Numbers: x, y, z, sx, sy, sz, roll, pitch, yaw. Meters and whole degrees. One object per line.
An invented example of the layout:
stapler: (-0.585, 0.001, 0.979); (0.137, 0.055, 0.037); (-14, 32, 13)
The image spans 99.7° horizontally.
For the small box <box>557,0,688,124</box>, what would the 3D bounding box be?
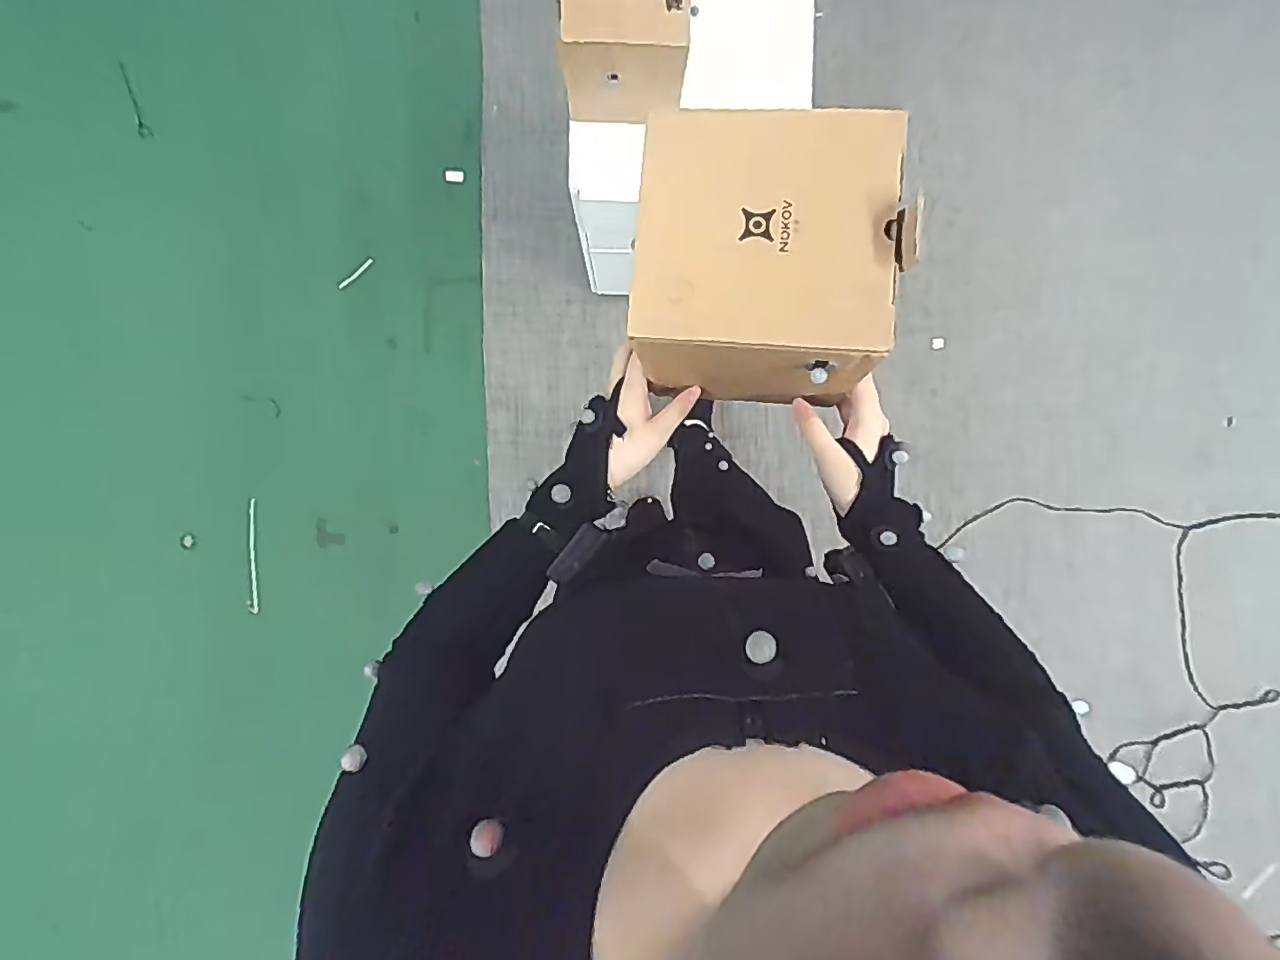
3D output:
small box: (-0.023, -0.655, 0.793); (0.179, 0.176, 0.168); (0, 92, -2)

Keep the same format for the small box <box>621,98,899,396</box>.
small box: (0.088, -0.171, 0.441); (0.179, 0.176, 0.168); (5, 86, 6)
